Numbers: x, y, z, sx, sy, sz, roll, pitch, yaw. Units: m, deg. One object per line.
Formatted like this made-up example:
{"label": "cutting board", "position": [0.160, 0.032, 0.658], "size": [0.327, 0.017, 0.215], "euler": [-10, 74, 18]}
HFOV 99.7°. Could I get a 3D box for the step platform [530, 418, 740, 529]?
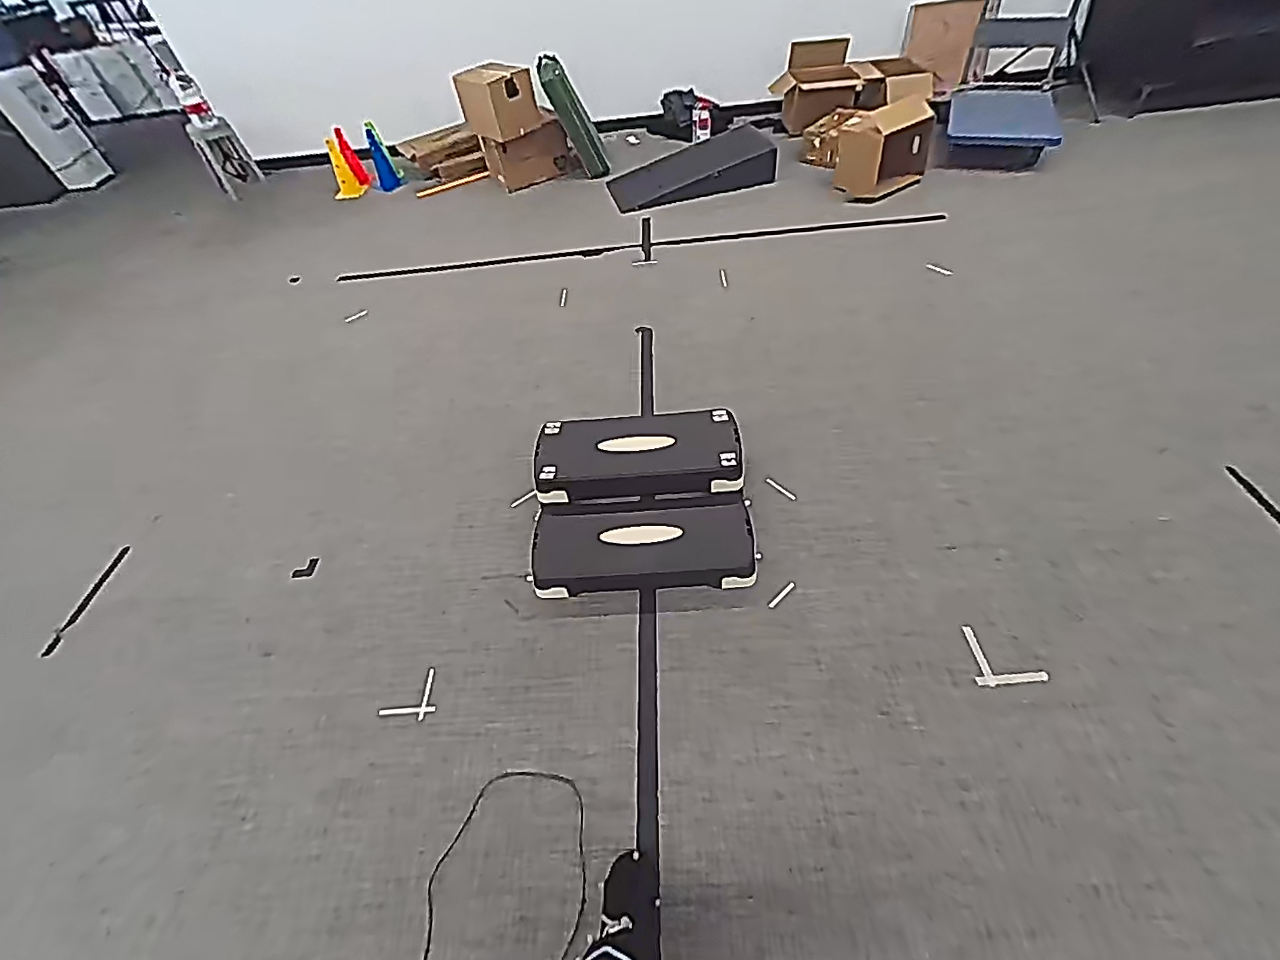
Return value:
{"label": "step platform", "position": [-0.017, -0.026, 1.791], "size": [0.684, 0.204, 0.286], "euler": [-4, 50, 3]}
